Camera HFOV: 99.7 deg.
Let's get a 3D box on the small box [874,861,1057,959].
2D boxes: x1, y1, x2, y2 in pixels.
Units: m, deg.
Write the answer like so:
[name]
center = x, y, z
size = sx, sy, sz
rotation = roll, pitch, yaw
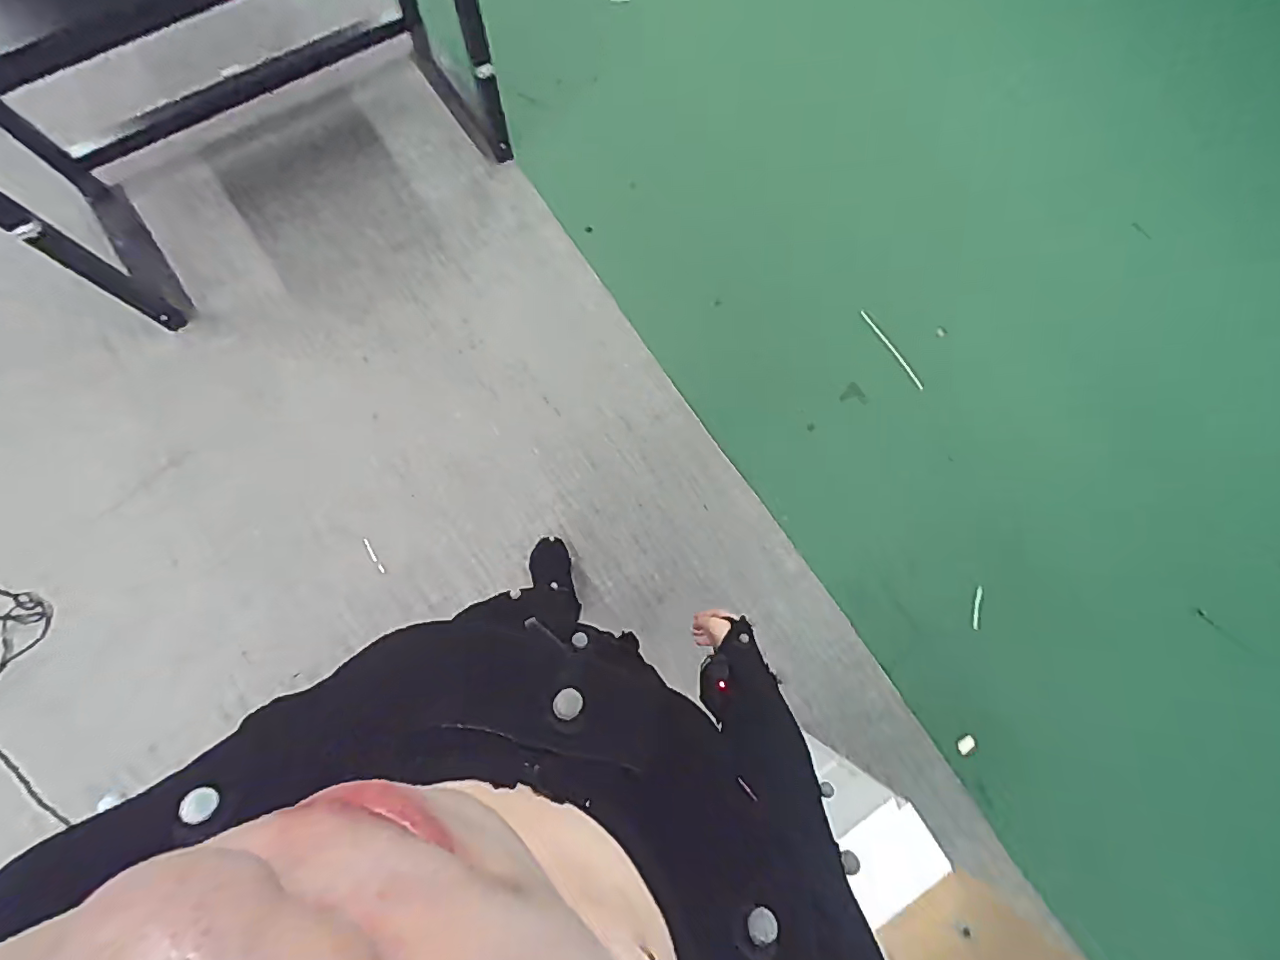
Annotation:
[small box]
center = 0.479, 0.703, 0.775
size = 0.179, 0.176, 0.168
rotation = -31, 81, -8
